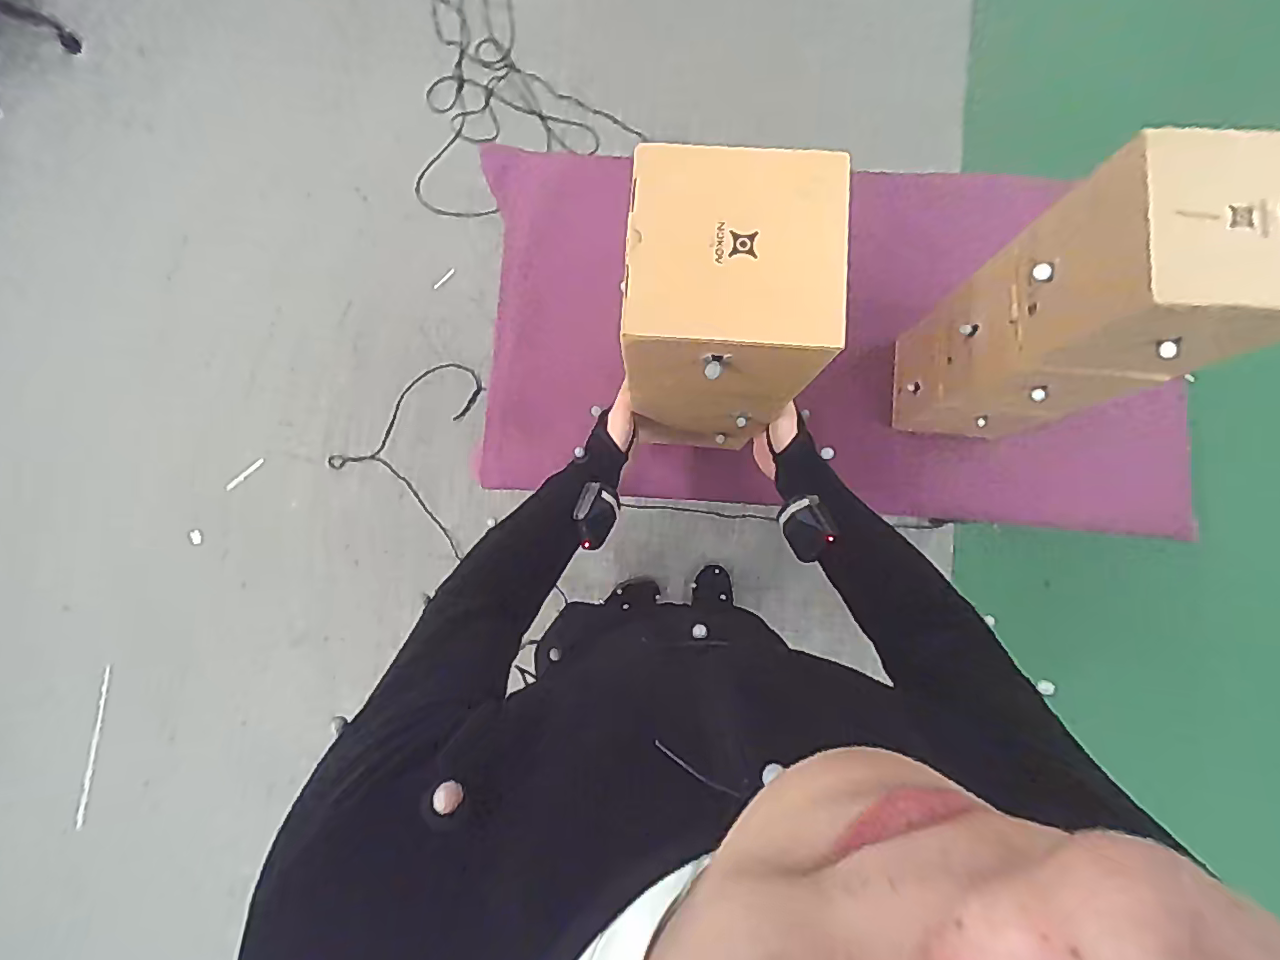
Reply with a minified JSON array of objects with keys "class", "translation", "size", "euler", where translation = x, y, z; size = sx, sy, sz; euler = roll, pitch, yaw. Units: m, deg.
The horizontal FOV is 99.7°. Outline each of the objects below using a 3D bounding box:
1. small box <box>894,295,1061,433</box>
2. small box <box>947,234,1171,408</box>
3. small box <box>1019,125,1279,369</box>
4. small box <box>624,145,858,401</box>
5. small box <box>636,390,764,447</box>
[{"class":"small box","translation":[0.532,-0.176,0.870],"size":[0.179,0.176,0.168],"euler":[6,84,2]},{"class":"small box","translation":[0.529,-0.196,0.707],"size":[0.179,0.176,0.168],"euler":[5,85,3]},{"class":"small box","translation":[0.526,-0.216,0.544],"size":[0.179,0.176,0.168],"euler":[4,84,2]},{"class":"small box","translation":[0.082,-0.174,0.504],"size":[0.179,0.176,0.168],"euler":[4,85,3]},{"class":"small box","translation":[0.091,-0.150,0.830],"size":[0.179,0.176,0.168],"euler":[6,83,3]}]
